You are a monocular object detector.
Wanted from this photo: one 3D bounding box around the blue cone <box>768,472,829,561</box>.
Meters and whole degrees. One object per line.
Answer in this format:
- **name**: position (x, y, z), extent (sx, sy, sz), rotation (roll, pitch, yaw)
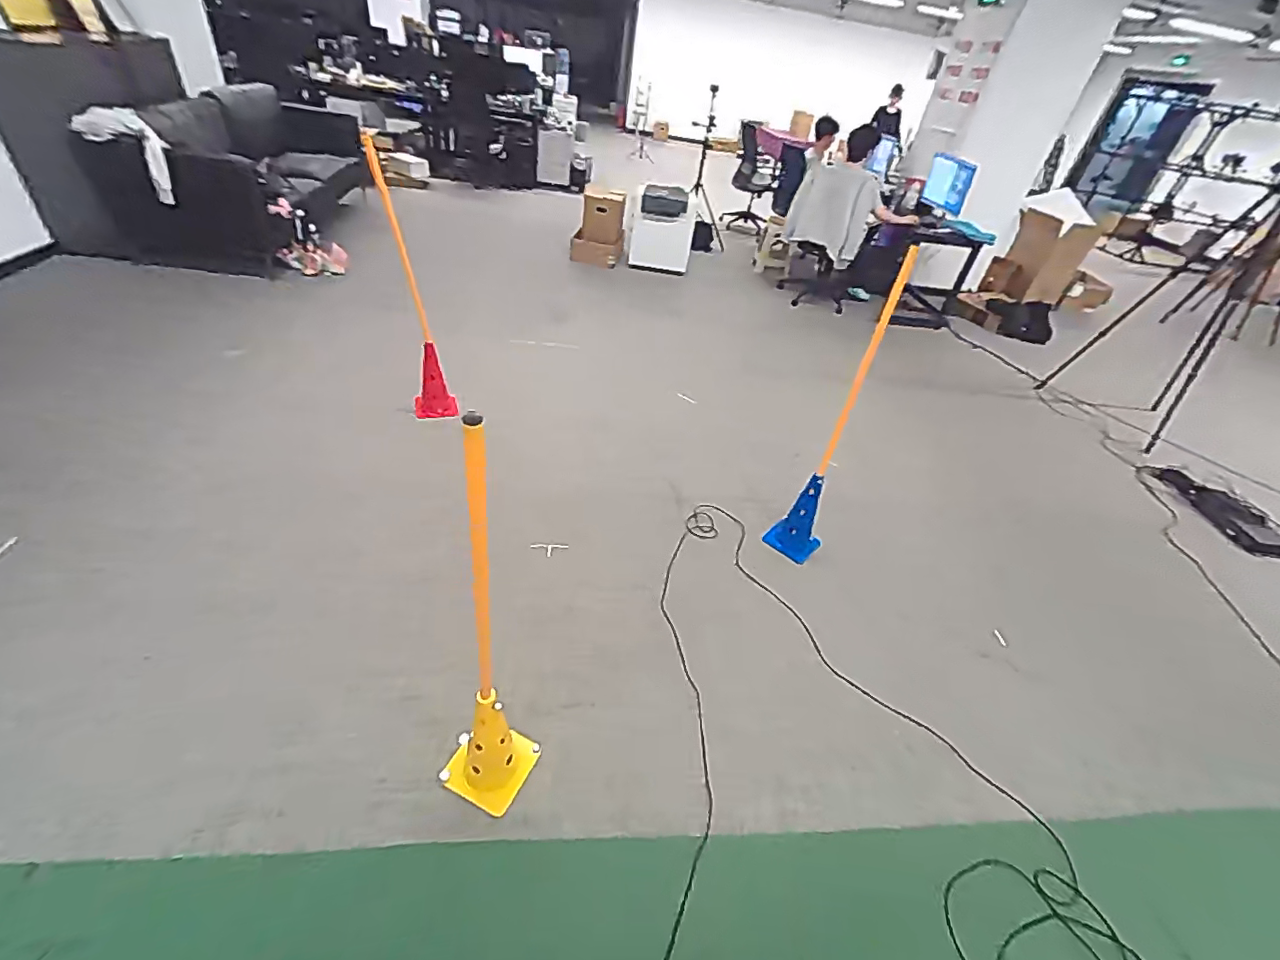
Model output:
- **blue cone**: position (0.674, 0.123, 2.194), extent (0.192, 0.380, 0.193), rotation (32, 41, 26)
